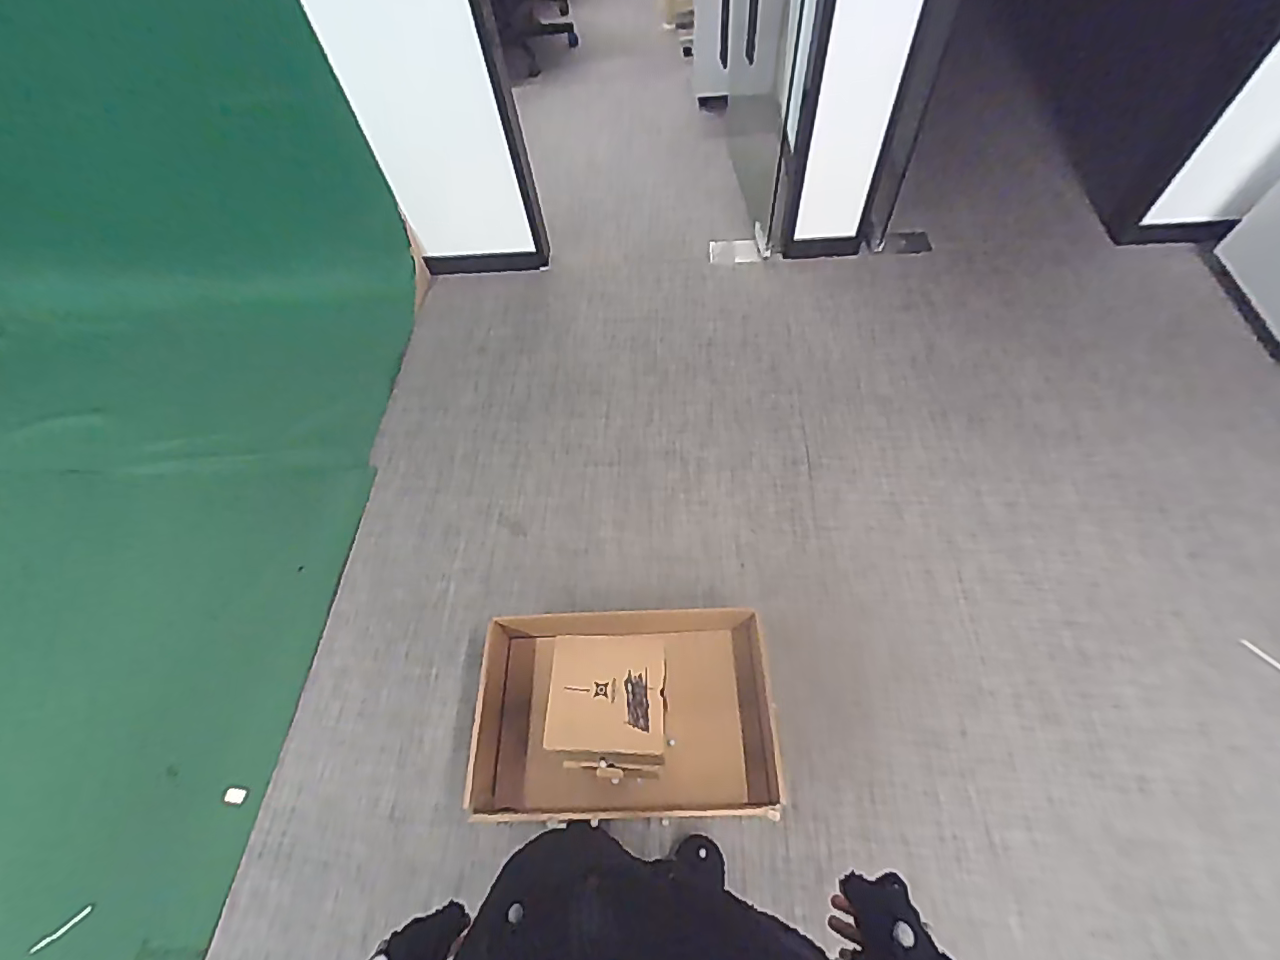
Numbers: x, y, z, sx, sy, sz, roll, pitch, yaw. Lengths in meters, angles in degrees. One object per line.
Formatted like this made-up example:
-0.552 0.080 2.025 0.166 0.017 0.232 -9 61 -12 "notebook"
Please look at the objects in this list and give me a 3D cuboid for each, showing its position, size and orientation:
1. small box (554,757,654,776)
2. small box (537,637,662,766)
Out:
-0.055 0.449 1.010 0.168 0.176 0.179 1 59 4 "small box"
-0.054 0.367 0.886 0.179 0.176 0.168 1 57 5 "small box"
